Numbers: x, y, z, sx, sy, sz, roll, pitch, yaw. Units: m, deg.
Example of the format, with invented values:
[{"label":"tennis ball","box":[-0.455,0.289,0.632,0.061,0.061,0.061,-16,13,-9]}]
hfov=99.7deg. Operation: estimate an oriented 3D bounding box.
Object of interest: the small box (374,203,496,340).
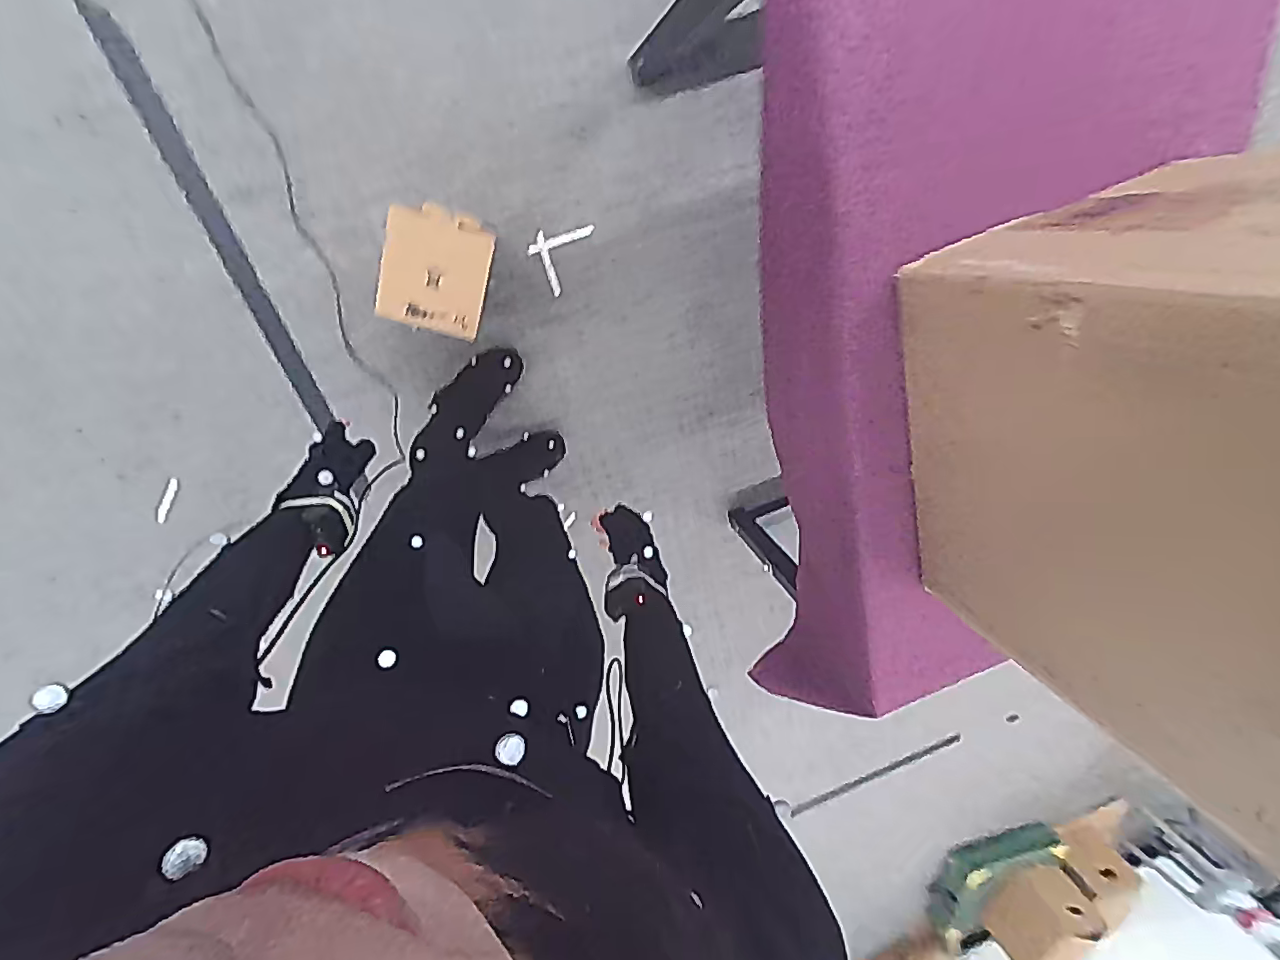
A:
[{"label":"small box","box":[-0.358,-0.367,0.960,0.168,0.176,0.179,11,109,-20]}]
